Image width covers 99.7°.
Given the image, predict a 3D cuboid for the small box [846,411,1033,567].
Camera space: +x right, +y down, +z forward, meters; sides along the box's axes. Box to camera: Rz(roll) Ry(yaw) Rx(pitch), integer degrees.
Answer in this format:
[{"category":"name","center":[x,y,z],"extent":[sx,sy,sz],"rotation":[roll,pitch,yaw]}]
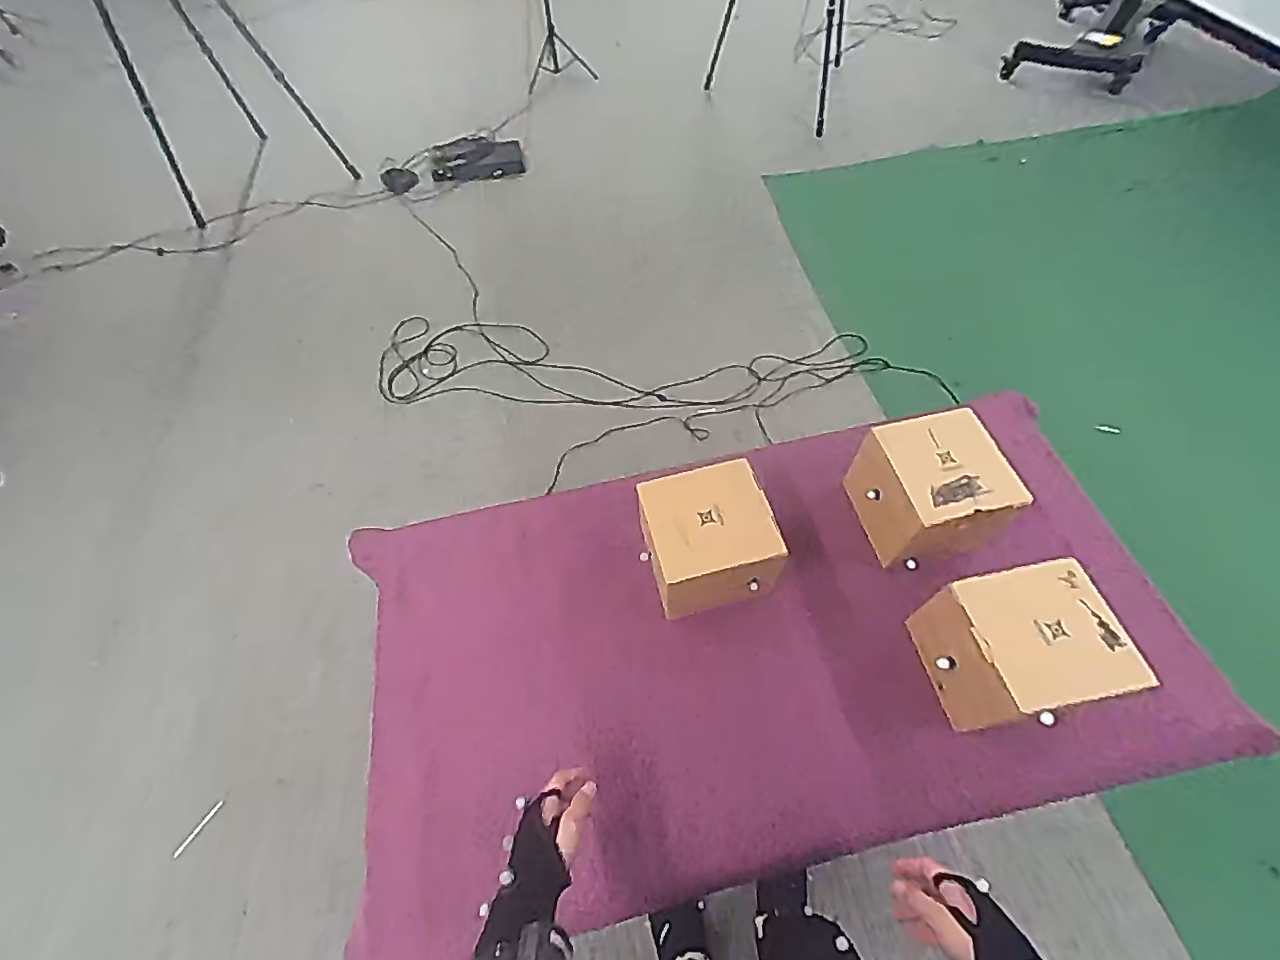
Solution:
[{"category":"small box","center":[0.450,0.024,0.846],"extent":[0.168,0.176,0.179],"rotation":[-11,58,-3]}]

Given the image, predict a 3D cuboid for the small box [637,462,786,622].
[{"category":"small box","center":[0.100,0.099,0.825],"extent":[0.179,0.176,0.168],"rotation":[-14,58,-4]}]

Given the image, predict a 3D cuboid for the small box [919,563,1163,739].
[{"category":"small box","center":[0.498,0.232,0.714],"extent":[0.179,0.176,0.168],"rotation":[-11,57,-2]}]
